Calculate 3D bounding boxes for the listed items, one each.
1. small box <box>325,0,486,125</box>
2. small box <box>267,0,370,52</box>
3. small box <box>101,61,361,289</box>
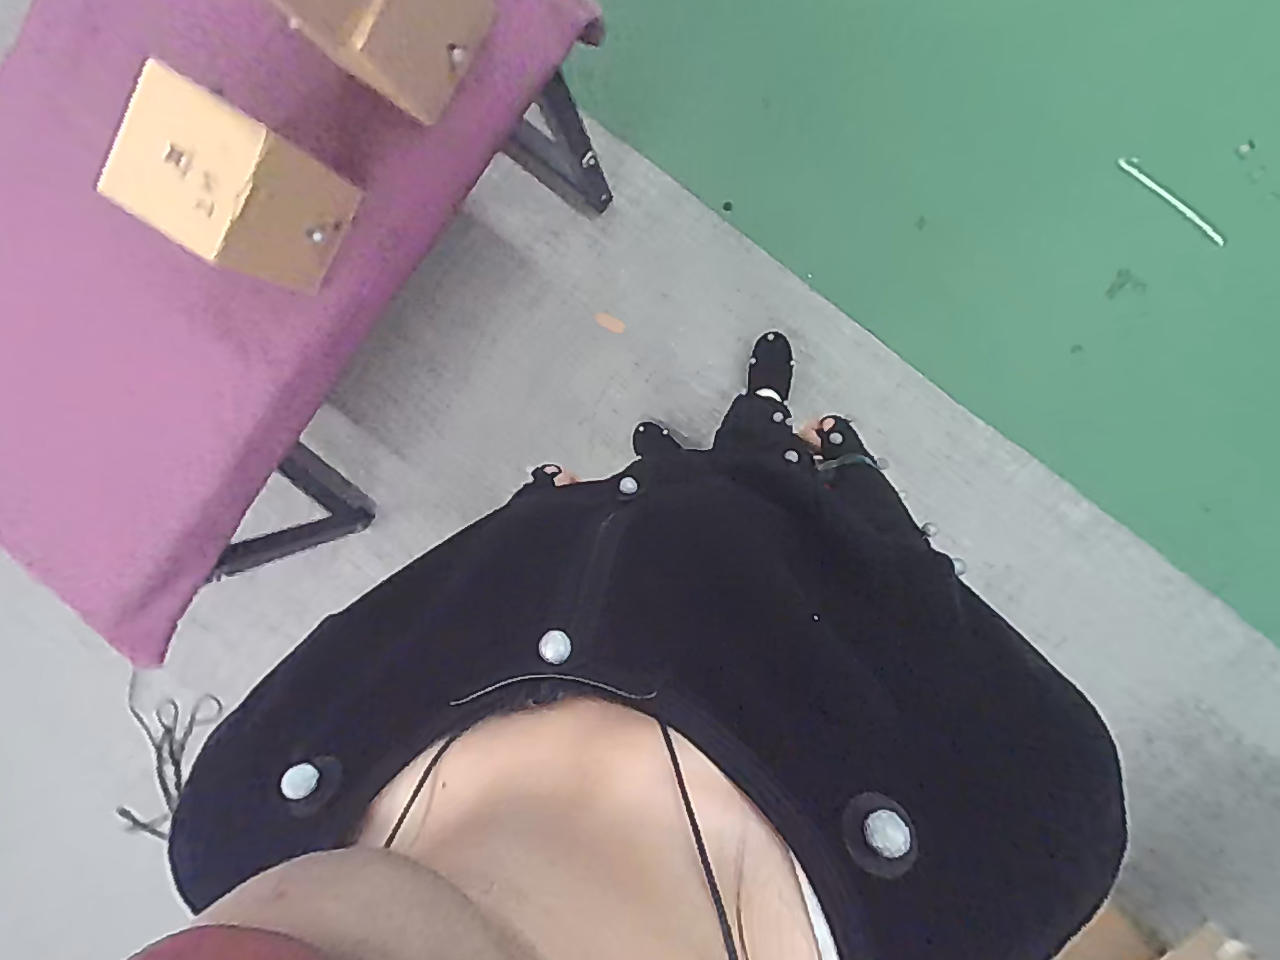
[{"bbox_3d":[-0.311,-0.586,0.651,0.168,0.176,0.179,35,100,2],"label":"small box"},{"bbox_3d":[-0.343,-0.562,0.492,0.168,0.176,0.179,41,100,0],"label":"small box"},{"bbox_3d":[-0.513,-0.373,0.700,0.179,0.176,0.168,33,100,3],"label":"small box"}]
